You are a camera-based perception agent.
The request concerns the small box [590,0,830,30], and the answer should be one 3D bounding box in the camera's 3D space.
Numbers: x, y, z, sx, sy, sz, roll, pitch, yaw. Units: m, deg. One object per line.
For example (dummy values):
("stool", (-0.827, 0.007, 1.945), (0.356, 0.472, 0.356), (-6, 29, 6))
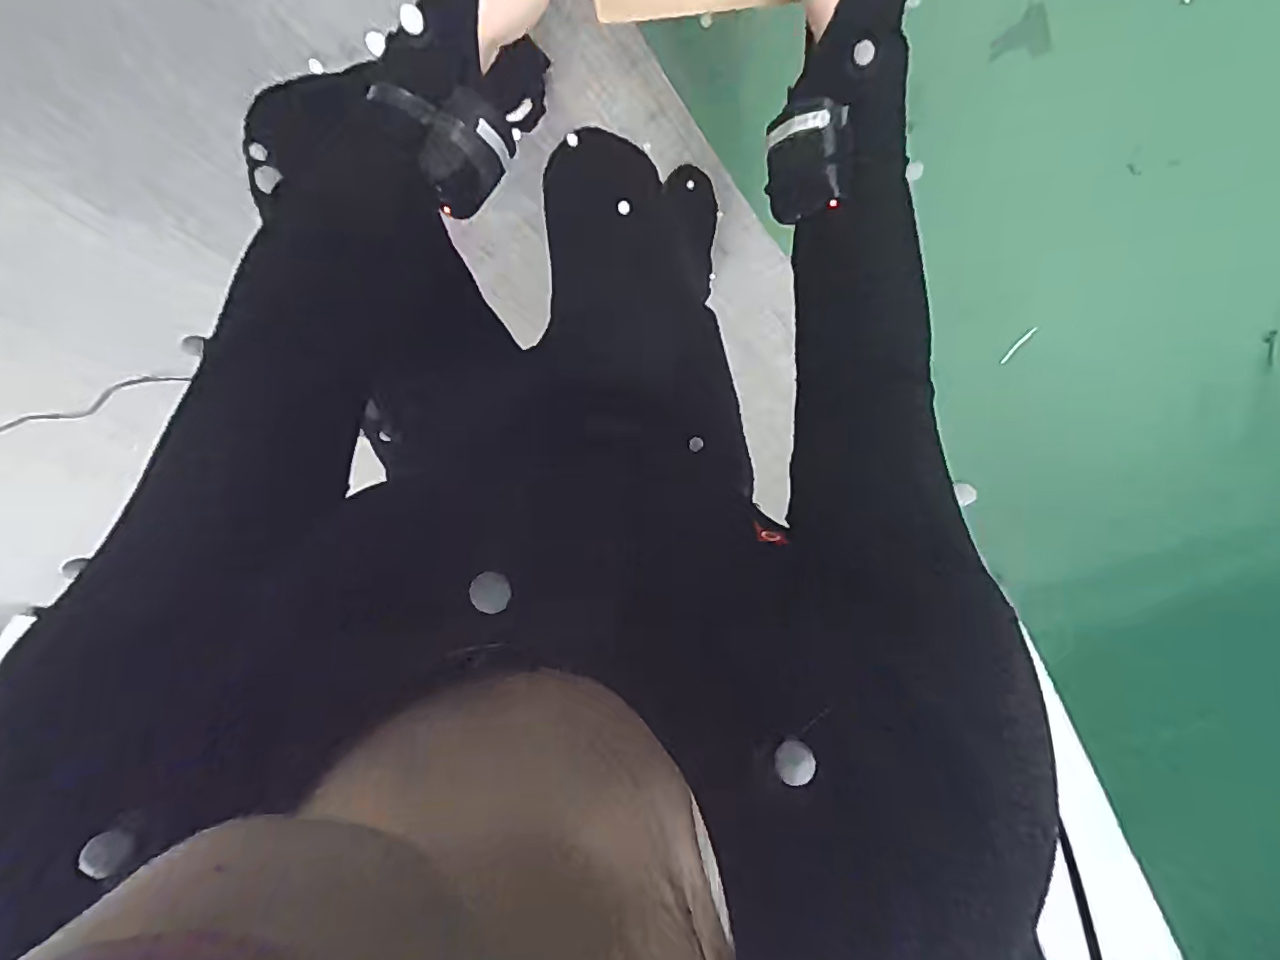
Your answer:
("small box", (0.048, -0.447, 0.380), (0.179, 0.176, 0.168), (-2, 141, 7))
